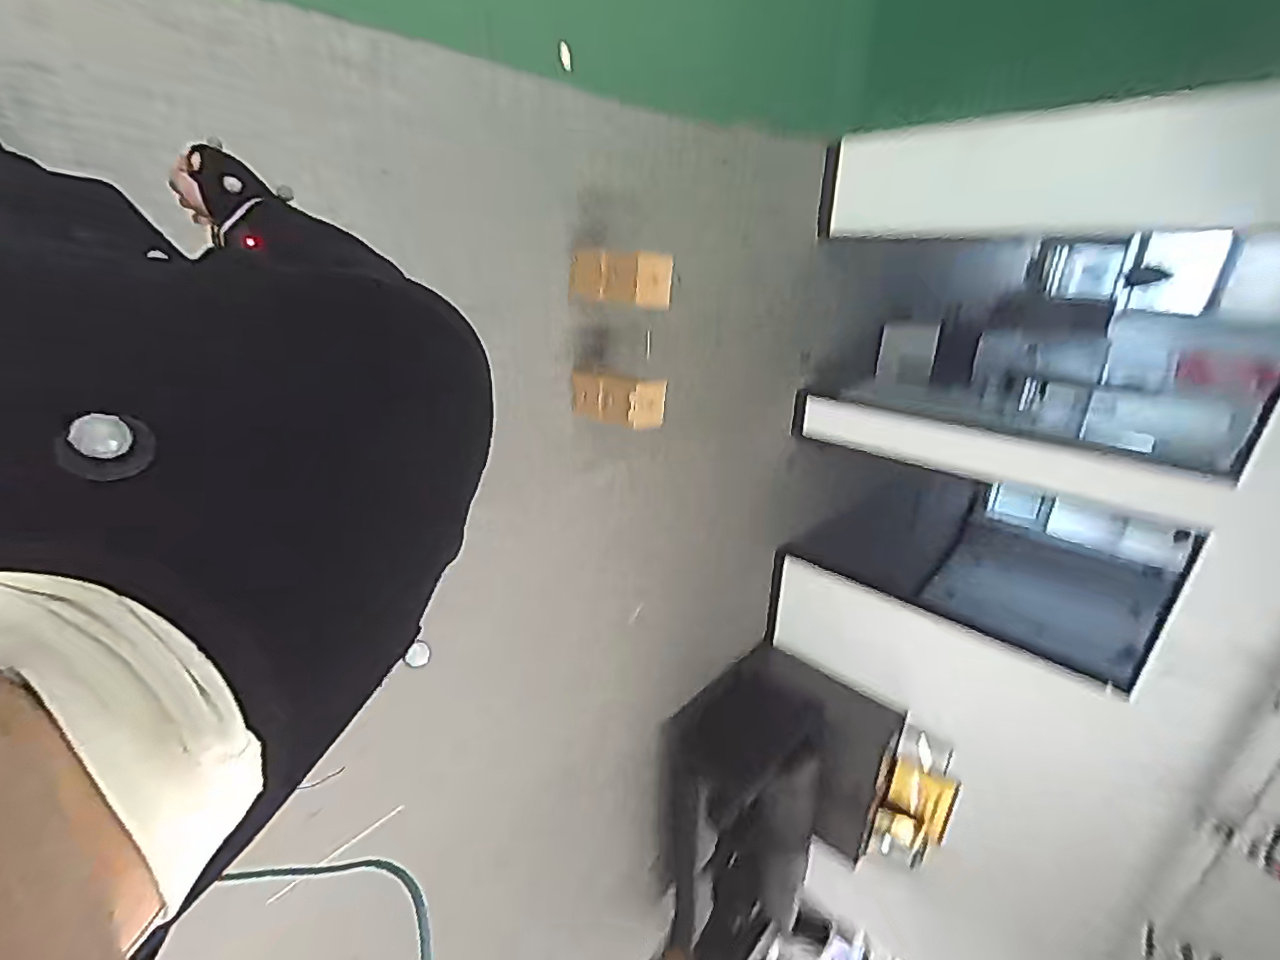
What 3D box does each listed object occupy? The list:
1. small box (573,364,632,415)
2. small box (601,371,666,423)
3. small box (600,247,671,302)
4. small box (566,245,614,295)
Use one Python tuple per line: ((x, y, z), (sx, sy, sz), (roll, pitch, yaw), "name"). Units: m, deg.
((-0.153, -0.364, 2.154), (0.179, 0.176, 0.168), (-20, 121, -43), "small box")
((-0.026, -0.320, 2.058), (0.179, 0.176, 0.168), (-15, 116, -45), "small box")
((-0.016, -0.720, 1.894), (0.179, 0.176, 0.168), (-17, 119, -44), "small box")
((-0.156, -0.772, 1.994), (0.179, 0.176, 0.168), (-17, 120, -45), "small box")
